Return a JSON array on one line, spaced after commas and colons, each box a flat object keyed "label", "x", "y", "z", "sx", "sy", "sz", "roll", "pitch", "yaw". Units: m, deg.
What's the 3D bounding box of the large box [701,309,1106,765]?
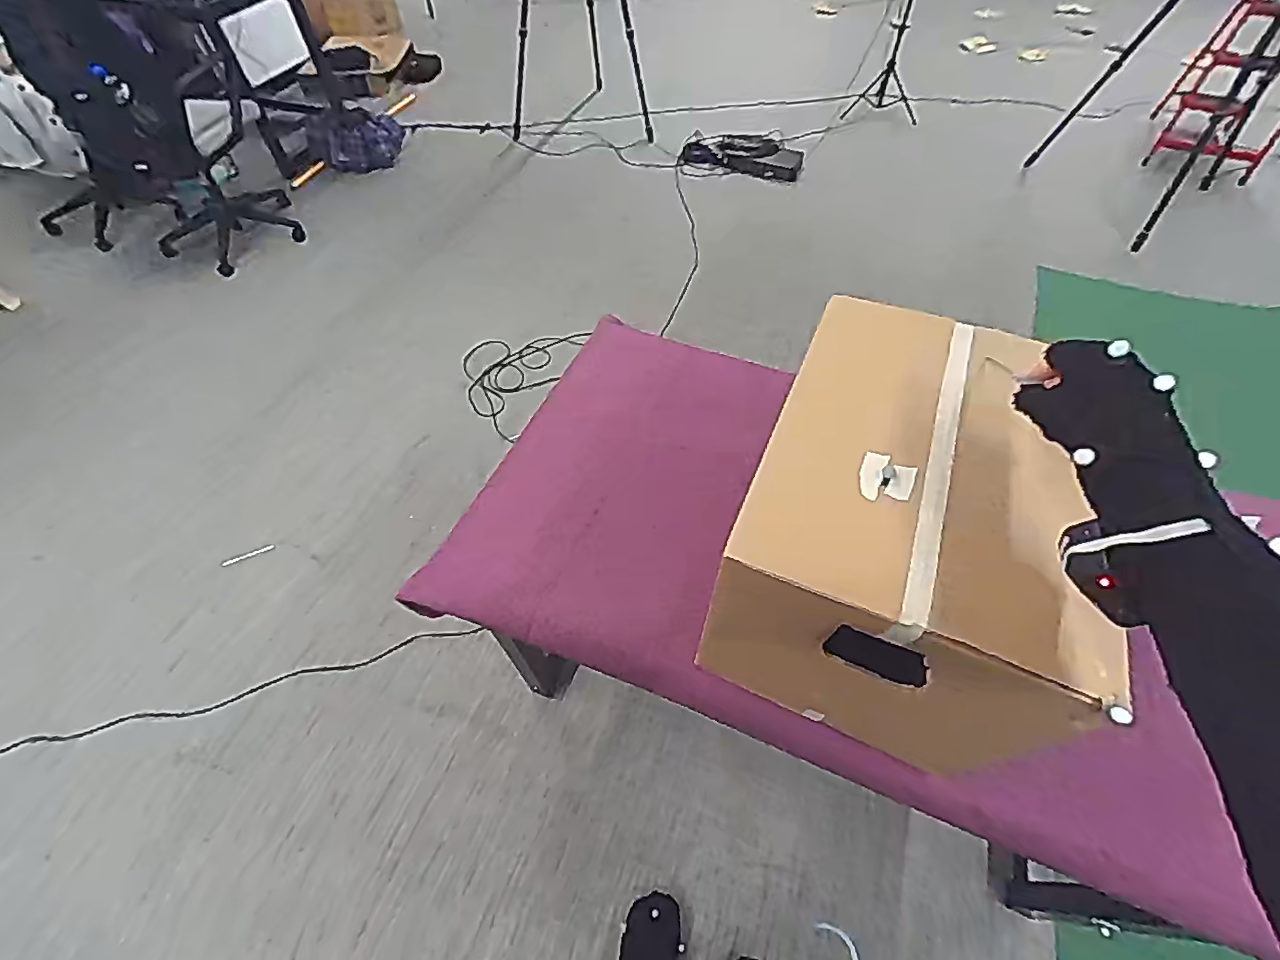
[{"label": "large box", "x": 0.297, "y": 0.066, "z": 0.671, "sx": 0.320, "sy": 0.320, "sz": 0.408, "roll": 20, "pitch": 58, "yaw": 15}]
